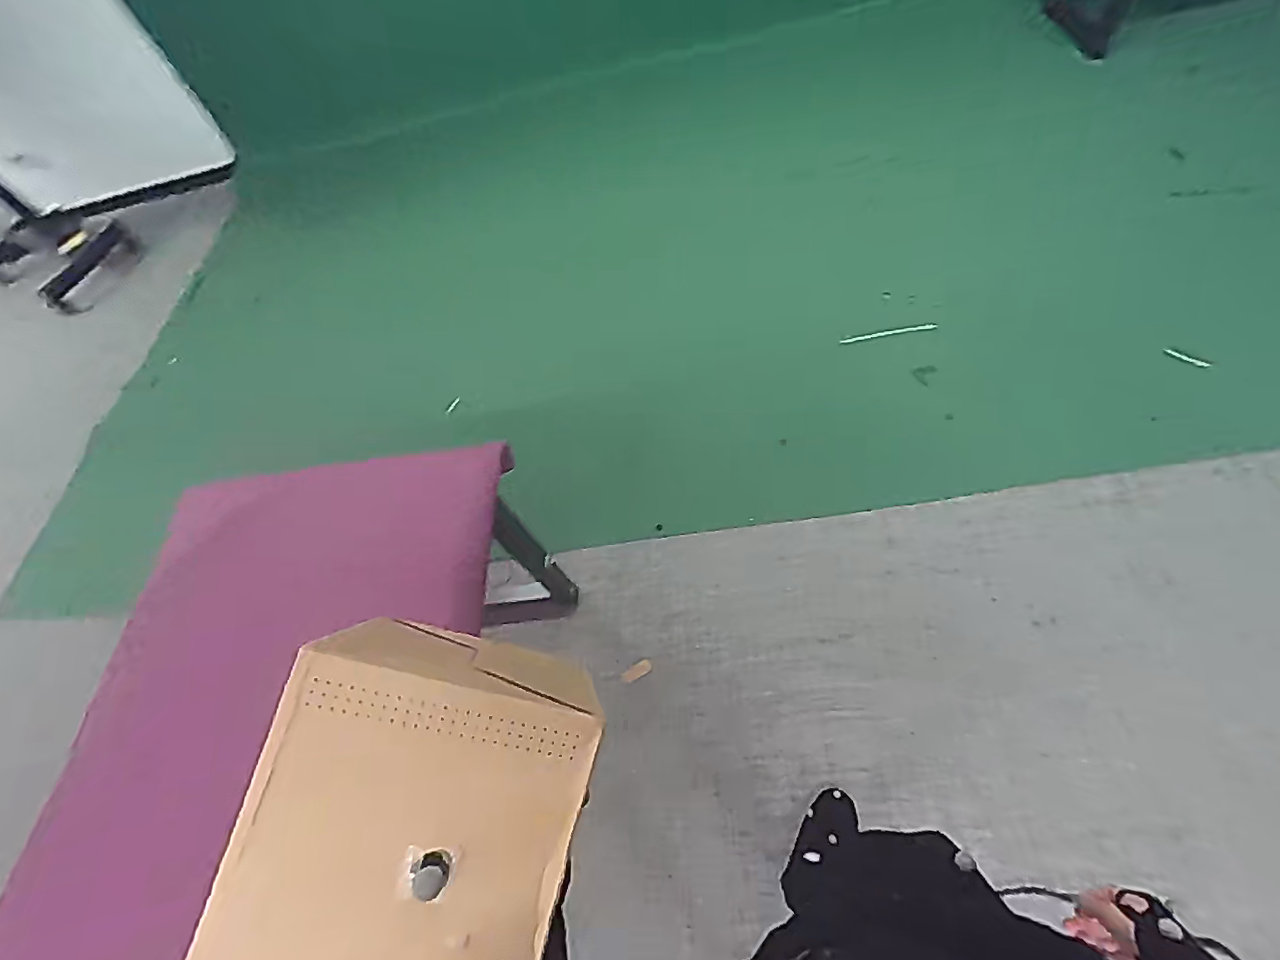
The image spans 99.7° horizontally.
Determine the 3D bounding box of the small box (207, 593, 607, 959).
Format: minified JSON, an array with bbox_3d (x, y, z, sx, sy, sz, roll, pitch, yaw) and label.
[{"bbox_3d":[-0.130,0.185,0.370,0.179,0.168,0.176,16,80,-7],"label":"small box"}]
